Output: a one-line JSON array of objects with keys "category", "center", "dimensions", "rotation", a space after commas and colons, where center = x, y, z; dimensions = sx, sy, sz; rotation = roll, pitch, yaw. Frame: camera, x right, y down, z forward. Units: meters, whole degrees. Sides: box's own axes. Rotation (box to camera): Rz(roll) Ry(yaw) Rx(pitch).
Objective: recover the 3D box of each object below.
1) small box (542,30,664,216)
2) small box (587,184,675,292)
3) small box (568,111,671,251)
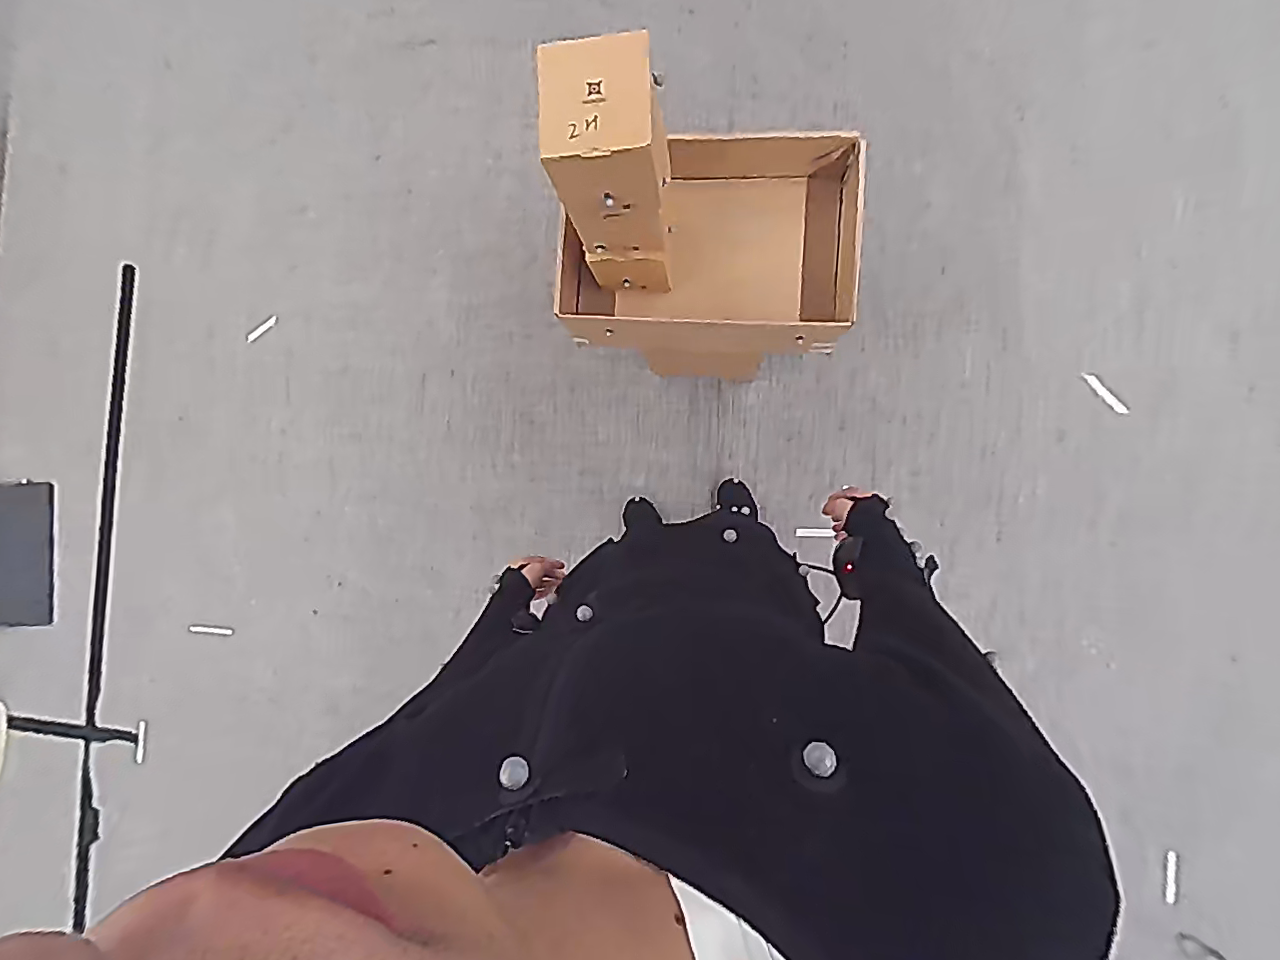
[{"category": "small box", "center": [-0.051, -0.548, 0.852], "dimensions": [0.168, 0.176, 0.179], "rotation": [-1, 89, 8]}, {"category": "small box", "center": [-0.014, -0.529, 1.177], "dimensions": [0.168, 0.176, 0.179], "rotation": [2, 88, 8]}, {"category": "small box", "center": [-0.031, -0.548, 1.015], "dimensions": [0.168, 0.176, 0.179], "rotation": [3, 88, 7]}]
